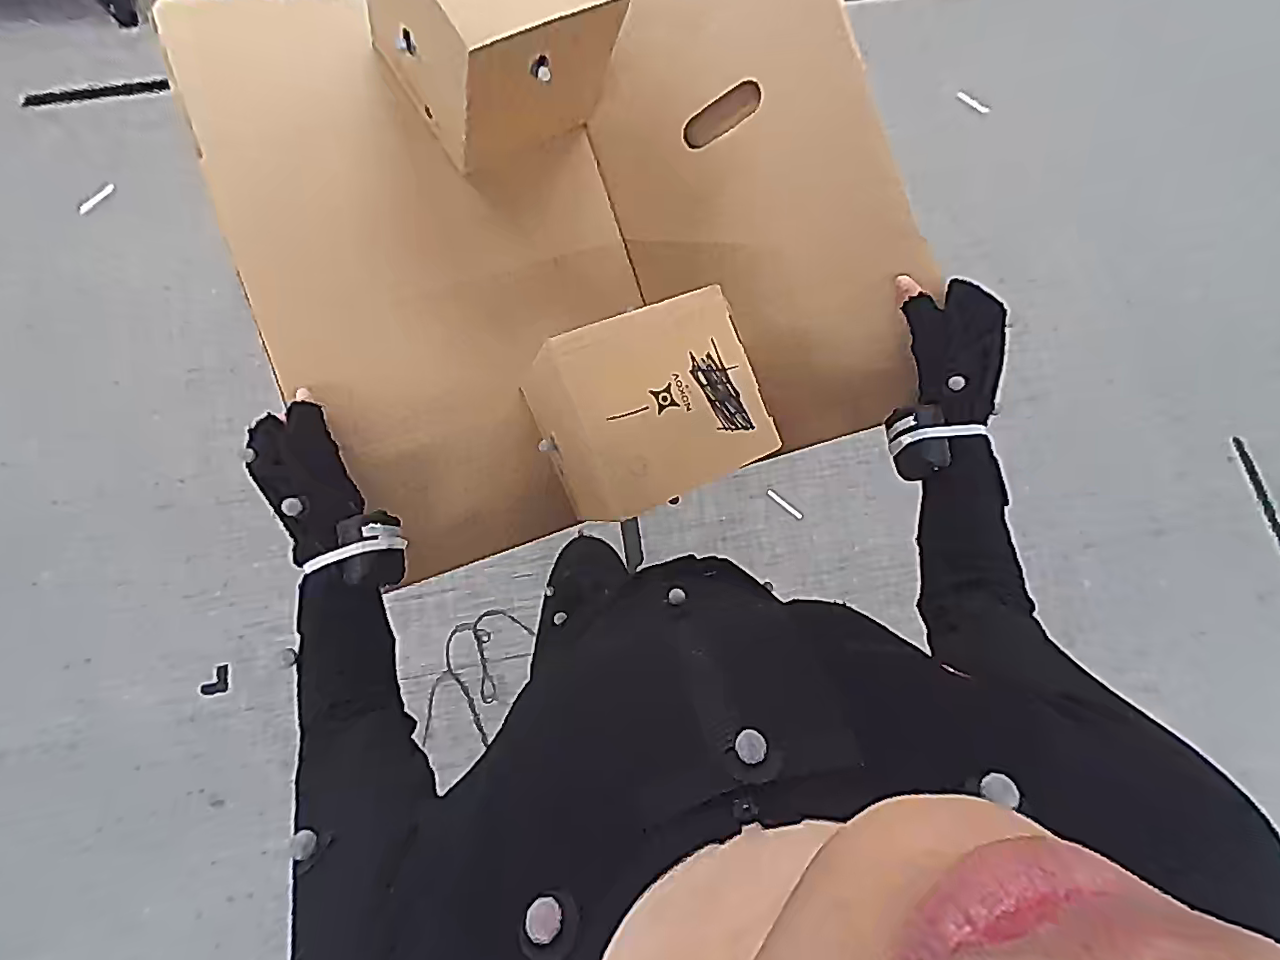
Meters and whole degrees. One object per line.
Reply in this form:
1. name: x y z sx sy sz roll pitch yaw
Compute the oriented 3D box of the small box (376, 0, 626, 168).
1. small box: -0.146 -0.455 0.539 0.179 0.176 0.168 -36 98 -20
